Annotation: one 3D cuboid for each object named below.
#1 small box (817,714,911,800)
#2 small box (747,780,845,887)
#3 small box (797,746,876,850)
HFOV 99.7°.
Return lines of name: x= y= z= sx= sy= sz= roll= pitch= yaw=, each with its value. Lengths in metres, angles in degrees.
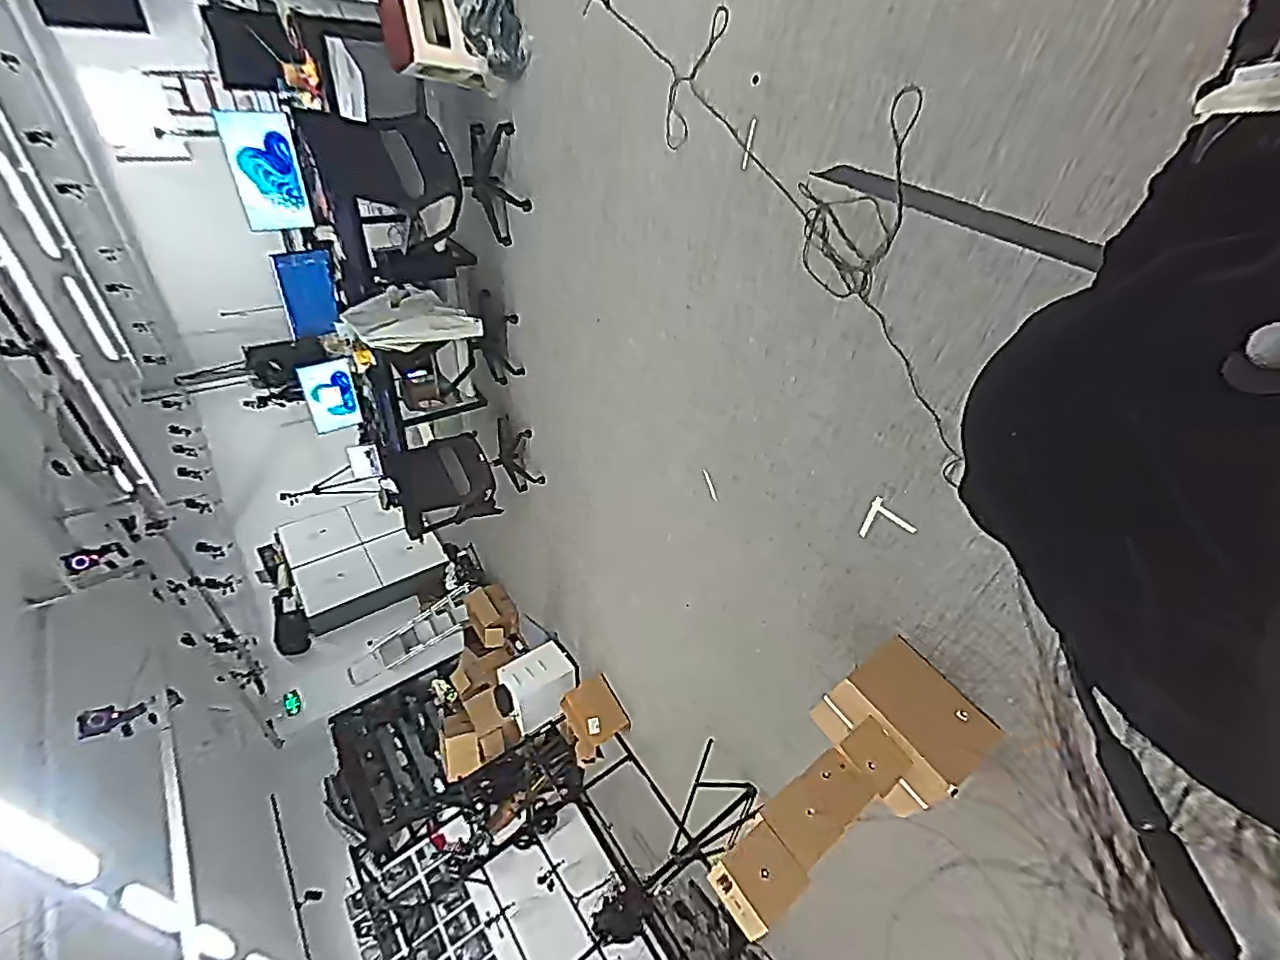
small box: x=0.697 y=0.867 z=1.679 sx=0.179 sy=0.176 sz=0.168 roll=50 pitch=144 yaw=28
small box: x=0.436 y=0.981 z=1.520 sx=0.179 sy=0.176 sz=0.168 roll=44 pitch=142 yaw=36
small box: x=0.570 y=0.935 z=1.602 sx=0.168 sy=0.176 sz=0.179 roll=38 pitch=139 yaw=40
